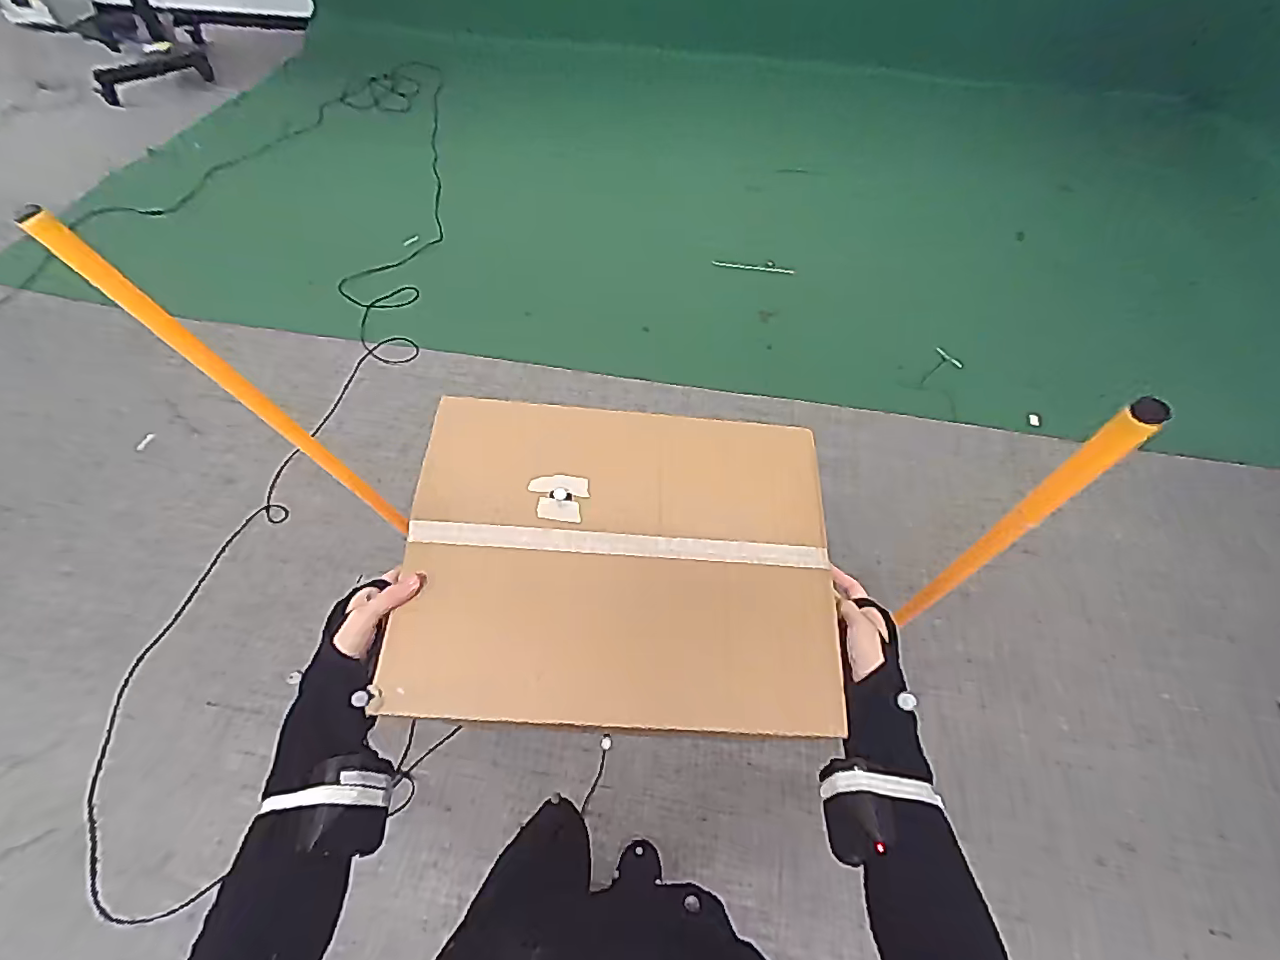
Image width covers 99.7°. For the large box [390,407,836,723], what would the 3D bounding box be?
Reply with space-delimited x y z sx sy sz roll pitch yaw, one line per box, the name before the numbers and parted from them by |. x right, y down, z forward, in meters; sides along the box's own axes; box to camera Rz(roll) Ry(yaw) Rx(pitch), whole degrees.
large box | -0.024 0.130 0.673 0.408 0.320 0.320 4 63 -3
